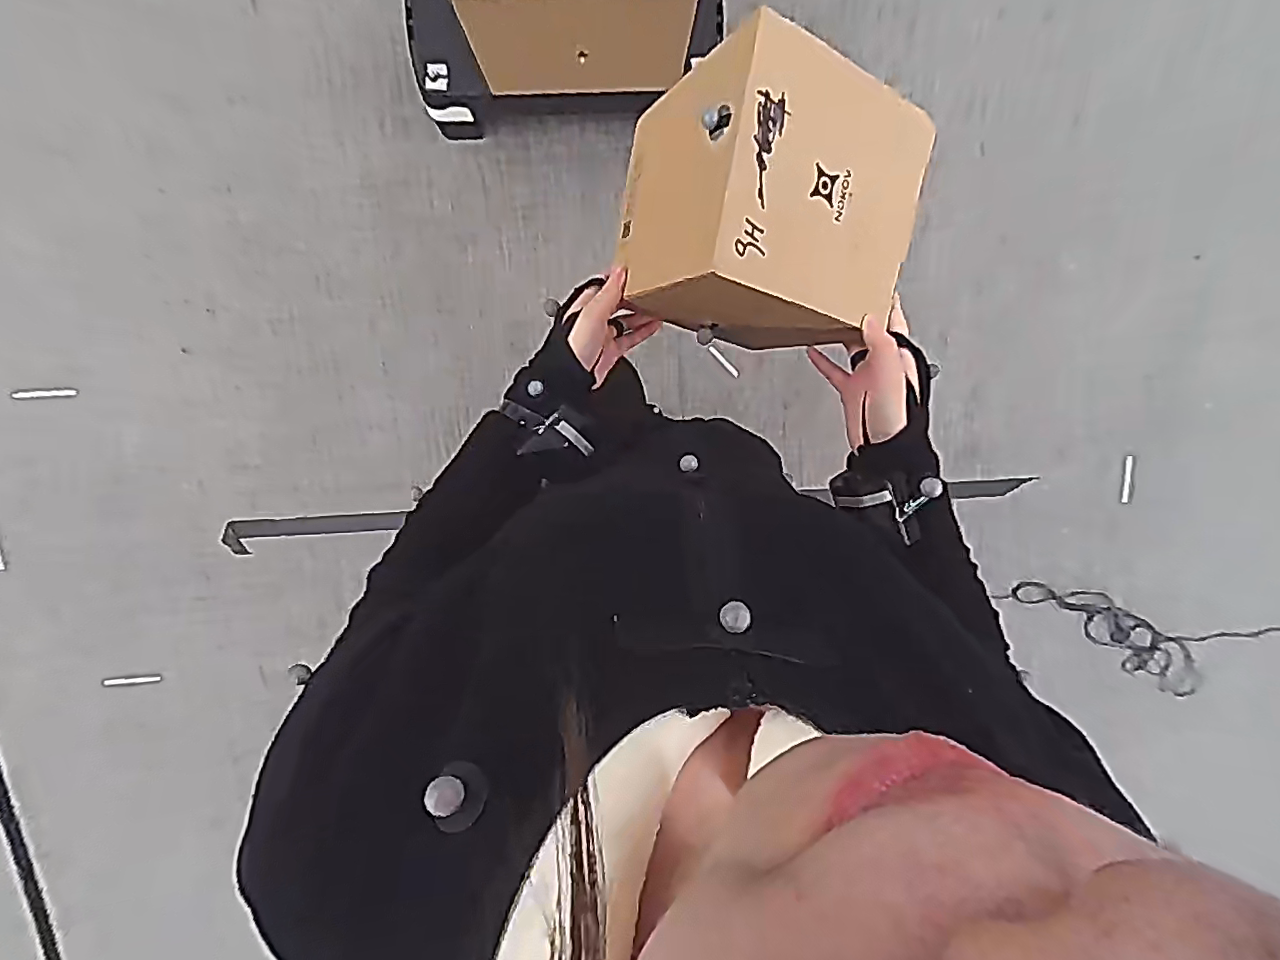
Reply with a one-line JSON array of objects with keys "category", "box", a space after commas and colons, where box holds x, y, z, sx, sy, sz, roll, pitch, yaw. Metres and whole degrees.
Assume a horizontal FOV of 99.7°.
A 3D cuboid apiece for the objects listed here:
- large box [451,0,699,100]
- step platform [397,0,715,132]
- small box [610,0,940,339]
[{"category": "large box", "box": [-0.113, -0.939, 0.976, 0.408, 0.320, 0.320, -3, 99, -1]}, {"category": "step platform", "box": [-0.175, -0.959, 1.212, 0.684, 0.204, 0.286, 2, 100, -2]}, {"category": "small box", "box": [0.099, -0.218, 0.440, 0.179, 0.176, 0.168, 9, 94, -30]}]
